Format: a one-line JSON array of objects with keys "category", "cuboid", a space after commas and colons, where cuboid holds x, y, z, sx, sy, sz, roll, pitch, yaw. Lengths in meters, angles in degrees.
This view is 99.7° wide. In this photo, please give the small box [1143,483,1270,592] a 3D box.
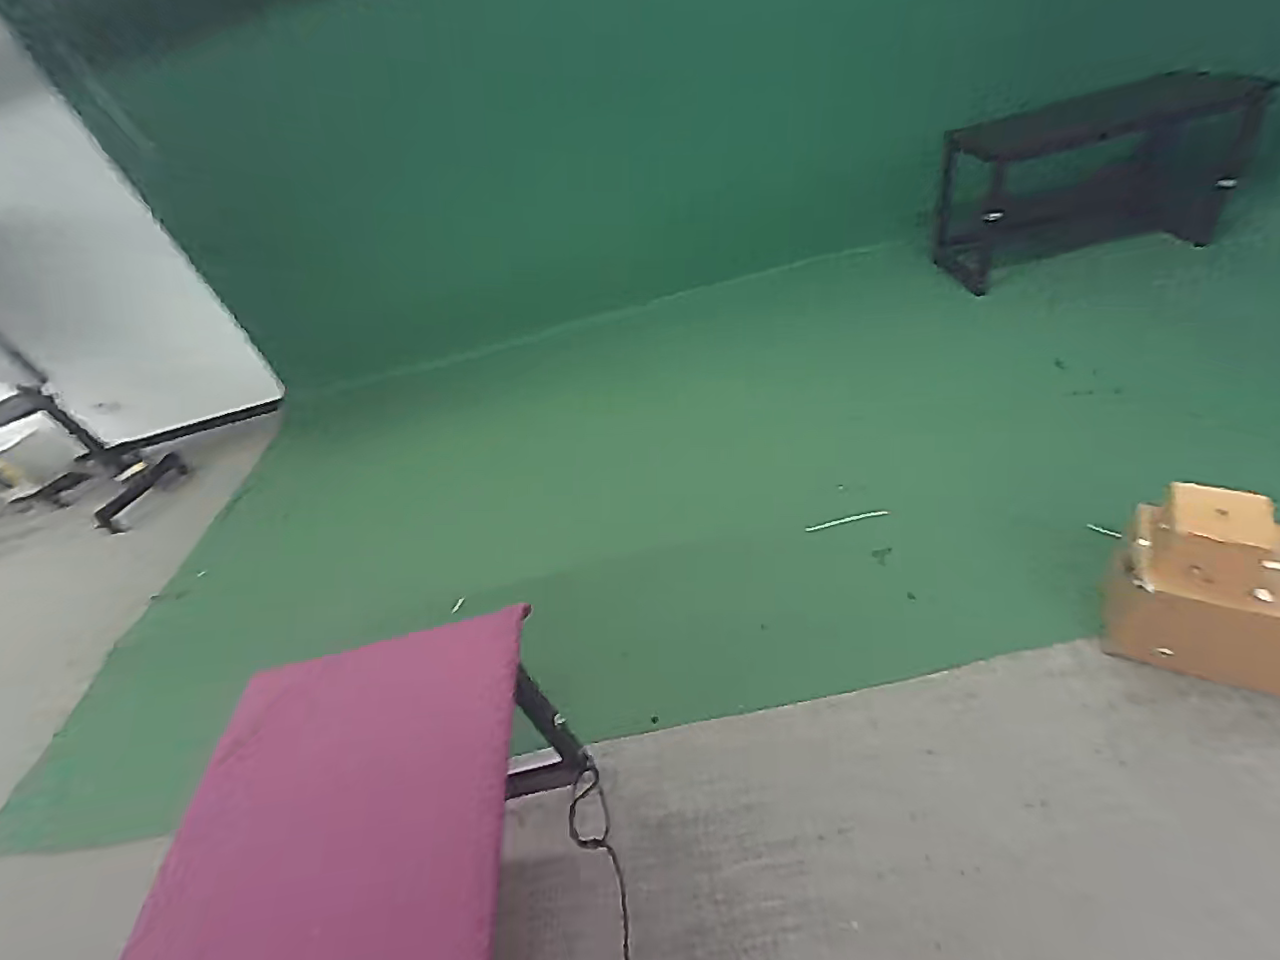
[{"category": "small box", "cuboid": [1.366, 0.139, 1.318, 0.168, 0.176, 0.179, 14, 51, 30]}]
